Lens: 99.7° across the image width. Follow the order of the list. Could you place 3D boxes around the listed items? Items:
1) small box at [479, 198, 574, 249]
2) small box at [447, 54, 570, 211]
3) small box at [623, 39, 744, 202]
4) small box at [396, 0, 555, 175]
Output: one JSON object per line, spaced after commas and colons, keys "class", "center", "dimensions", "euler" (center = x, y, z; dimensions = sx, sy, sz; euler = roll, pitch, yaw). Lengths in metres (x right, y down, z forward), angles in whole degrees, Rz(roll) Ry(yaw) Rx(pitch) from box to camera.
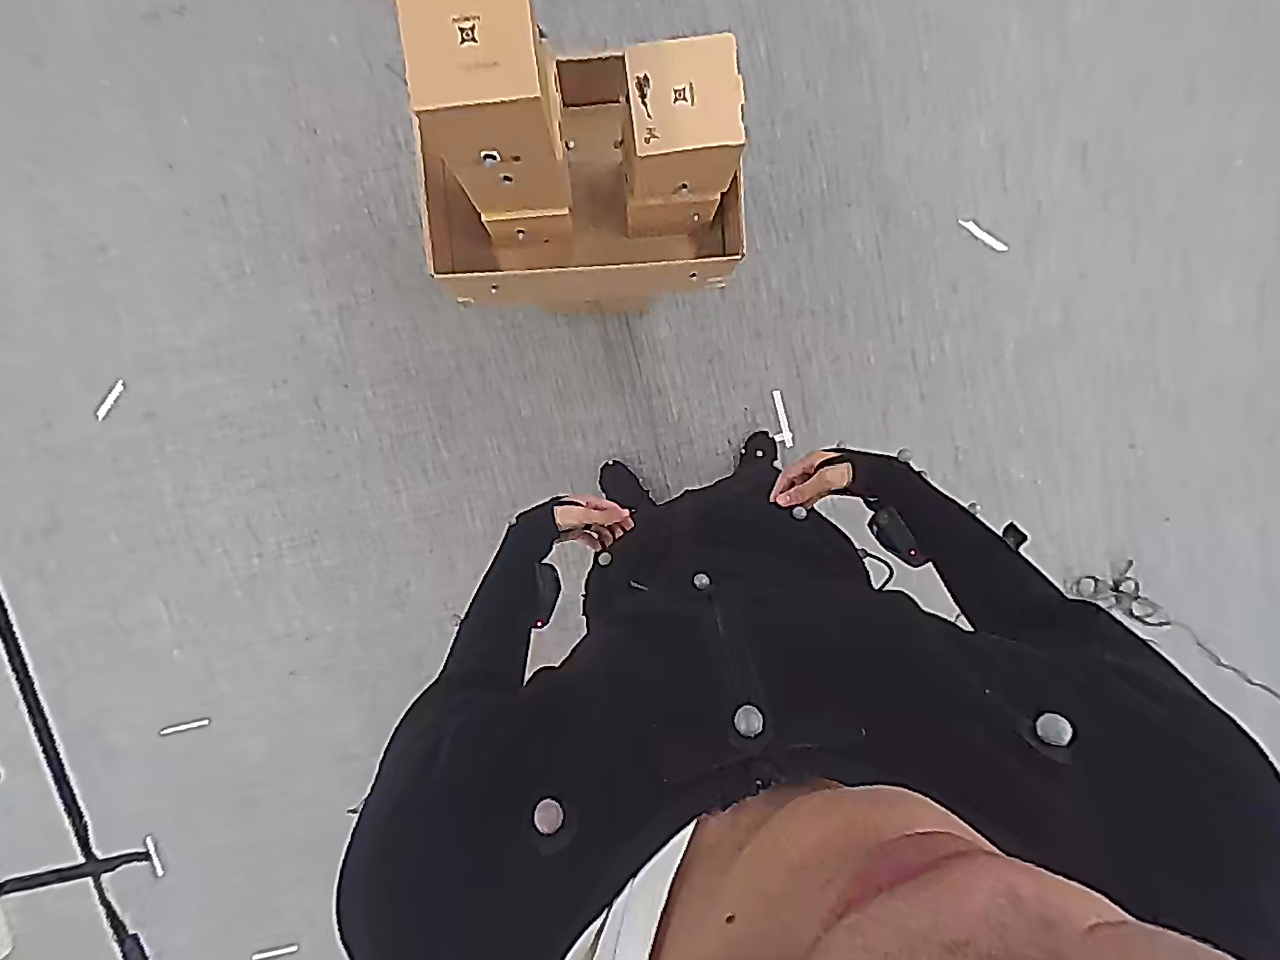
{"class": "small box", "center": [-0.225, -0.574, 1.074], "dimensions": [0.168, 0.176, 0.179], "euler": [-6, 94, -2]}
{"class": "small box", "center": [-0.217, -0.570, 0.909], "dimensions": [0.179, 0.176, 0.168], "euler": [-4, 94, -2]}
{"class": "small box", "center": [0.066, -0.593, 0.912], "dimensions": [0.179, 0.176, 0.168], "euler": [-7, 95, -1]}
{"class": "small box", "center": [-0.217, -0.557, 0.746], "dimensions": [0.168, 0.176, 0.179], "euler": [-6, 93, -1]}
